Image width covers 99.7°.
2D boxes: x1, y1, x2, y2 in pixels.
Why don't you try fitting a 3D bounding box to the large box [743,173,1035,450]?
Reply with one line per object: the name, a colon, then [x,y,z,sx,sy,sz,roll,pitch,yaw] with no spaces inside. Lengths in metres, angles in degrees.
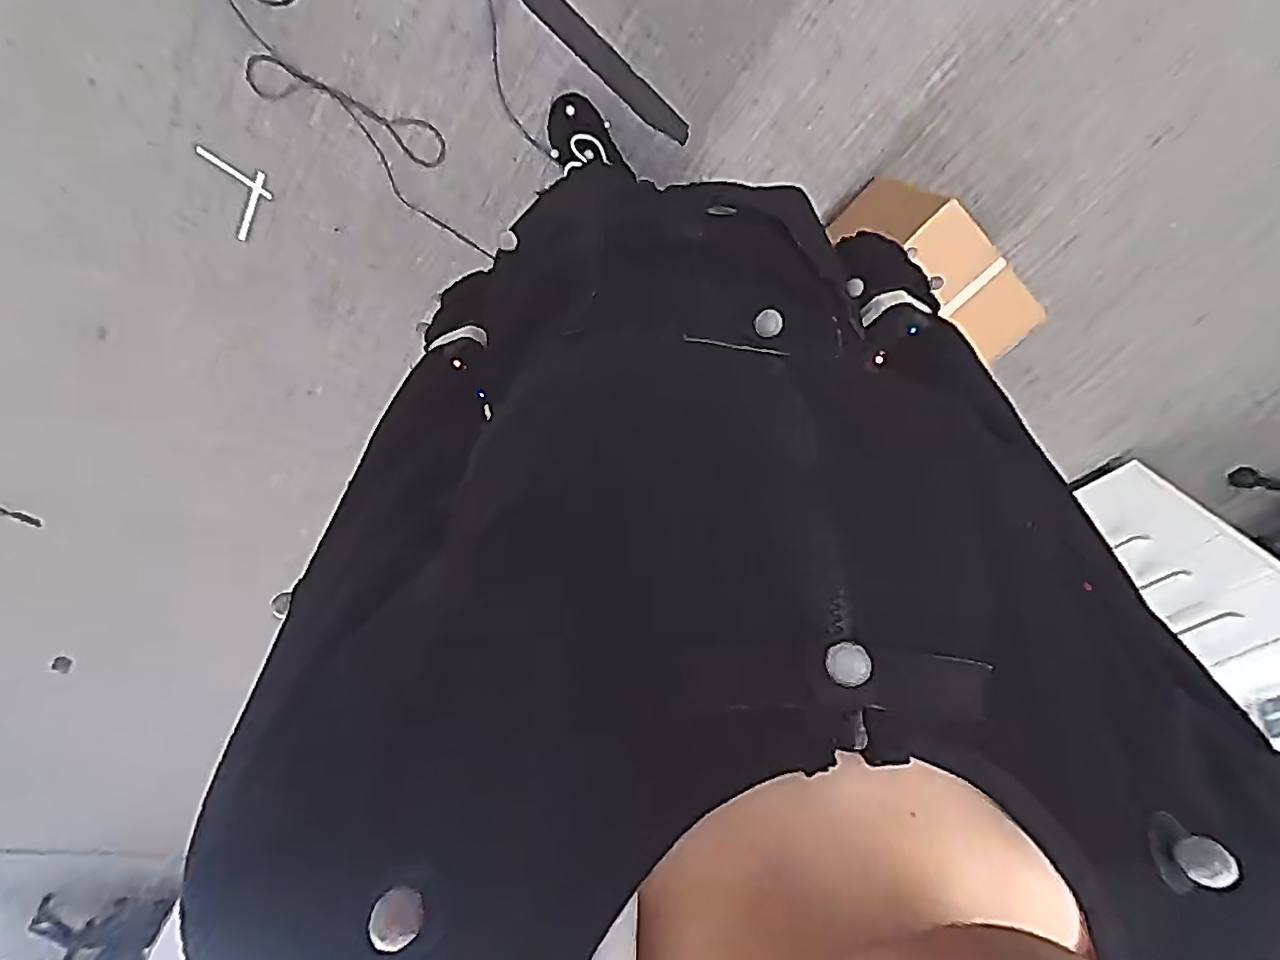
large box: [0.482,-0.351,1.139,0.320,0.320,0.408,32,118,-24]
